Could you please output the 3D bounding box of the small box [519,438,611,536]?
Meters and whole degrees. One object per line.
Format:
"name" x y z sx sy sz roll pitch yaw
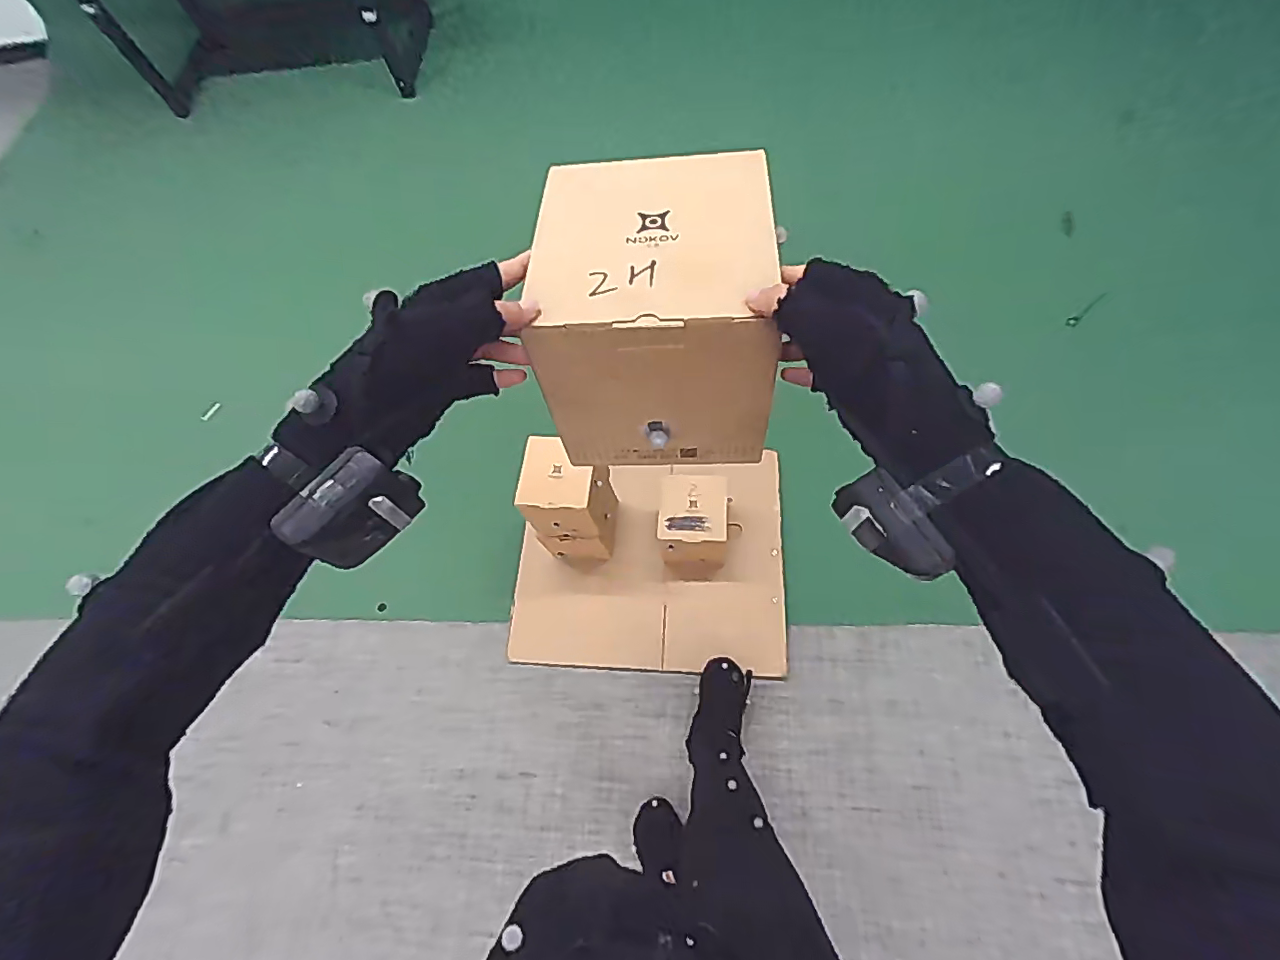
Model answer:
"small box" -0.167 0.020 1.272 0.168 0.176 0.179 3 66 9

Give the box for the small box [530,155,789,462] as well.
"small box" 0.023 -0.133 0.446 0.168 0.176 0.179 0 59 7

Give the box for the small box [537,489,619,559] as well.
"small box" -0.153 0.100 1.413 0.168 0.176 0.179 2 64 9
